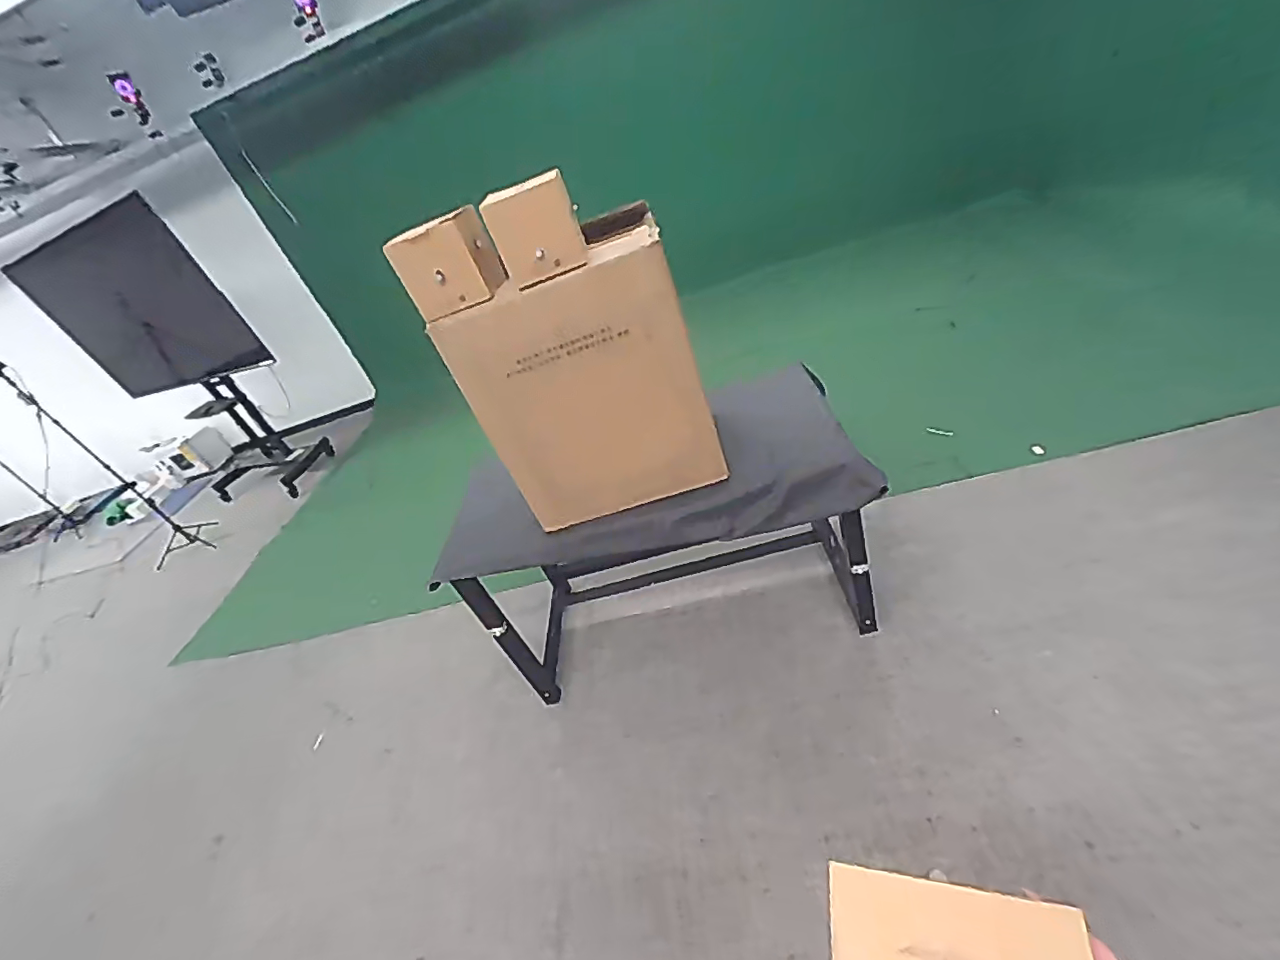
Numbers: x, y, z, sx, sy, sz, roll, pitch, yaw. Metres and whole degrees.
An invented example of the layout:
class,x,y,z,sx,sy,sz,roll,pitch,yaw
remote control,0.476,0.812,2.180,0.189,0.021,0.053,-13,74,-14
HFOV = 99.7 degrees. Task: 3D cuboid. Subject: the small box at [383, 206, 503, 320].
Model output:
class,x,y,z,sx,sy,sz,roll,pitch,yaw
small box,-0.424,-0.475,1.197,0.168,0.176,0.179,-17,35,10
